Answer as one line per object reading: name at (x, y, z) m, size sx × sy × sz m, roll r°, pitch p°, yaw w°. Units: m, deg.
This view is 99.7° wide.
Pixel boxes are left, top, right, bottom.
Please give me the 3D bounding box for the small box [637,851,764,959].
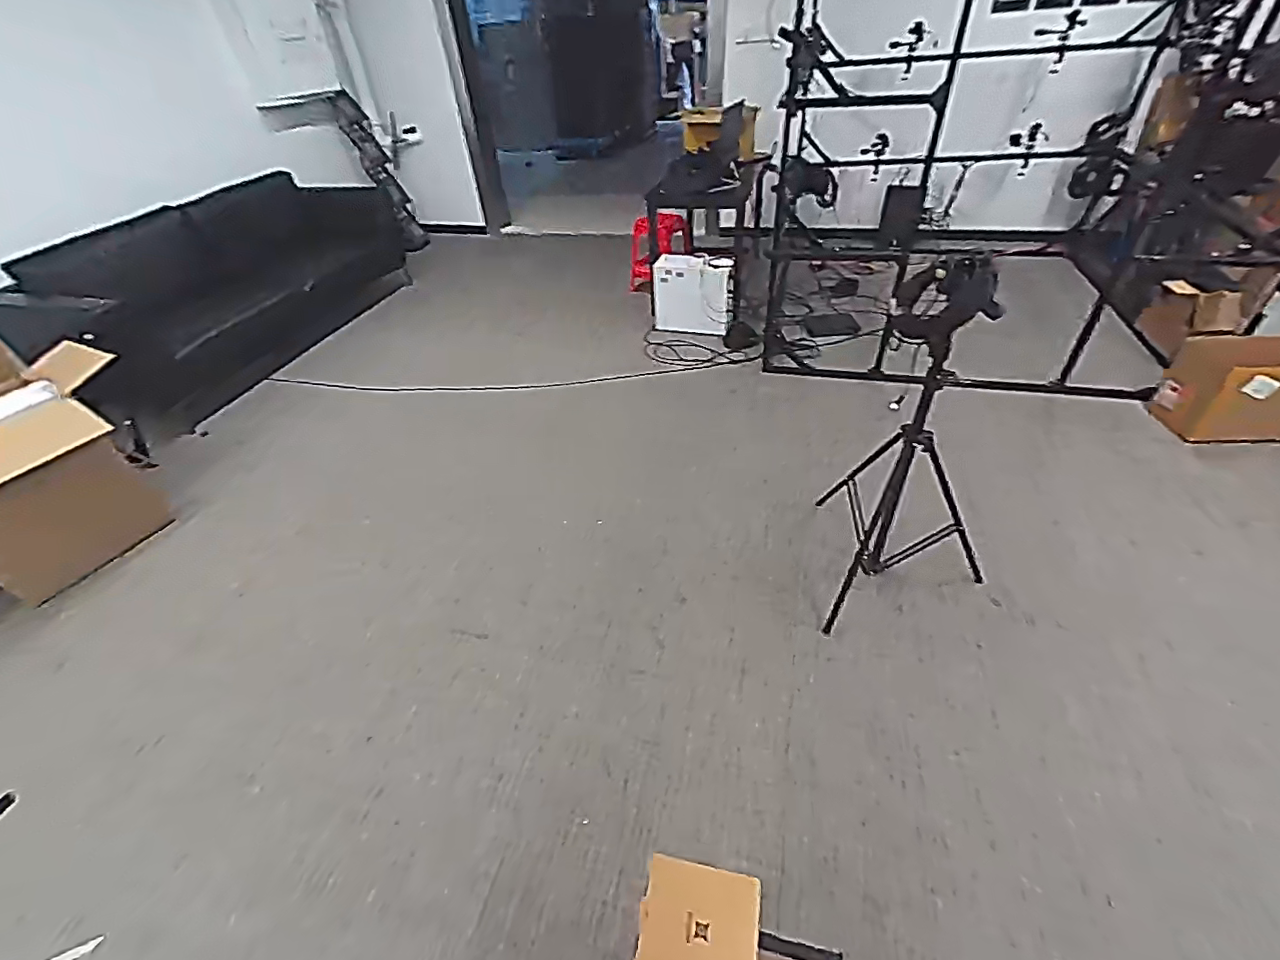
small box at (0.096, 0.721, 0.853) m, size 0.179 × 0.176 × 0.168 m, roll 6°, pitch 42°, yaw 11°
